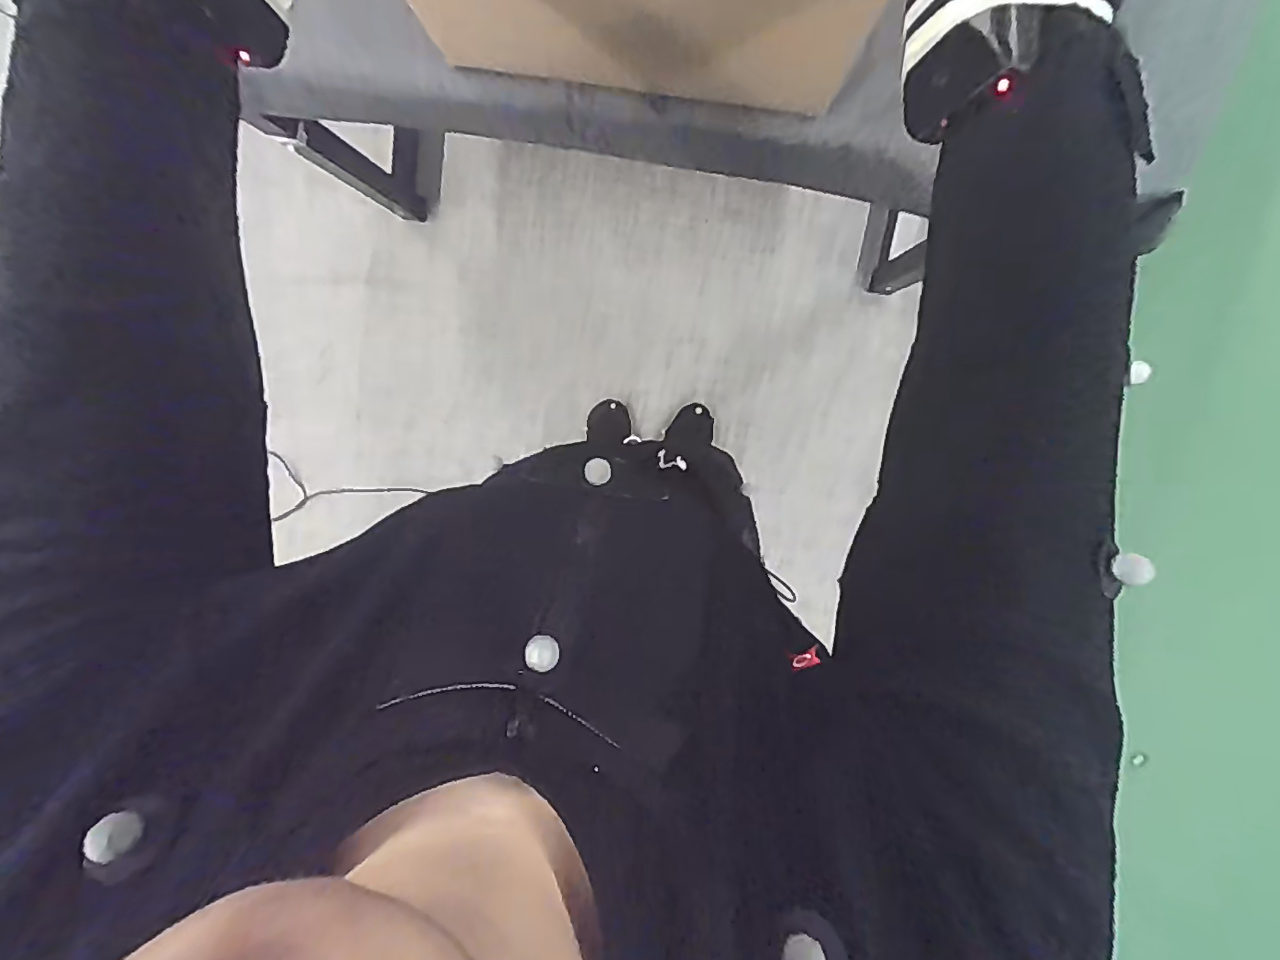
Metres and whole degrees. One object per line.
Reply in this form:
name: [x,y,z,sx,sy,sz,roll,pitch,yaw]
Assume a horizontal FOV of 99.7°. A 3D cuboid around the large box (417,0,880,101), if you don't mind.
large box: [0.009,-0.540,0.395,0.408,0.320,0.320,8,100,1]
